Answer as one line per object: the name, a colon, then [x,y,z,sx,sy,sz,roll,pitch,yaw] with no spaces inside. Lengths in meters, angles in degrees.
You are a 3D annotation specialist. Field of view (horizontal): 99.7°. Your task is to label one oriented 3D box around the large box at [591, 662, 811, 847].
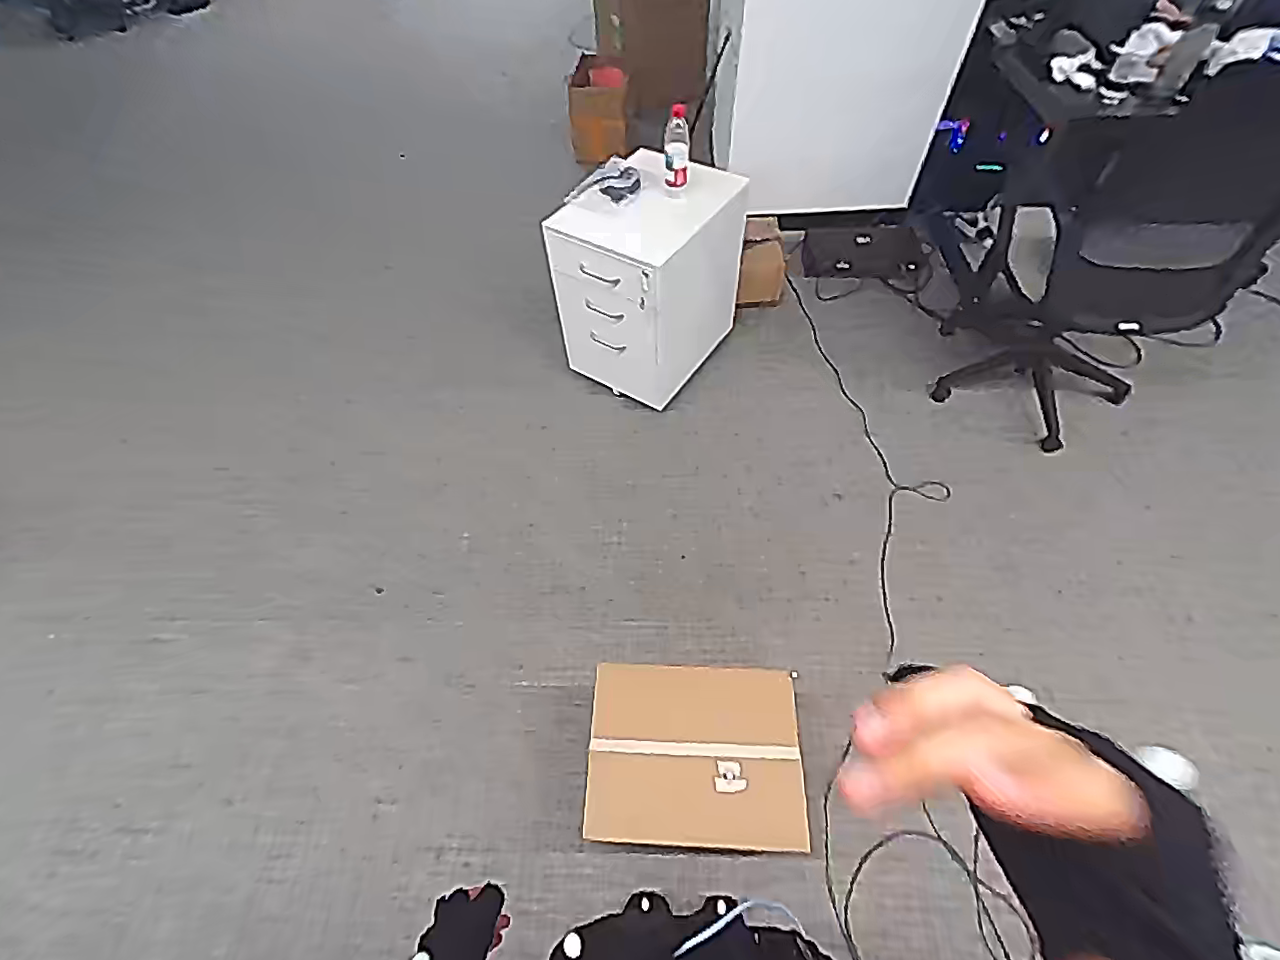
large box: [0.116,0.600,1.171,0.408,0.320,0.320,2,56,3]
